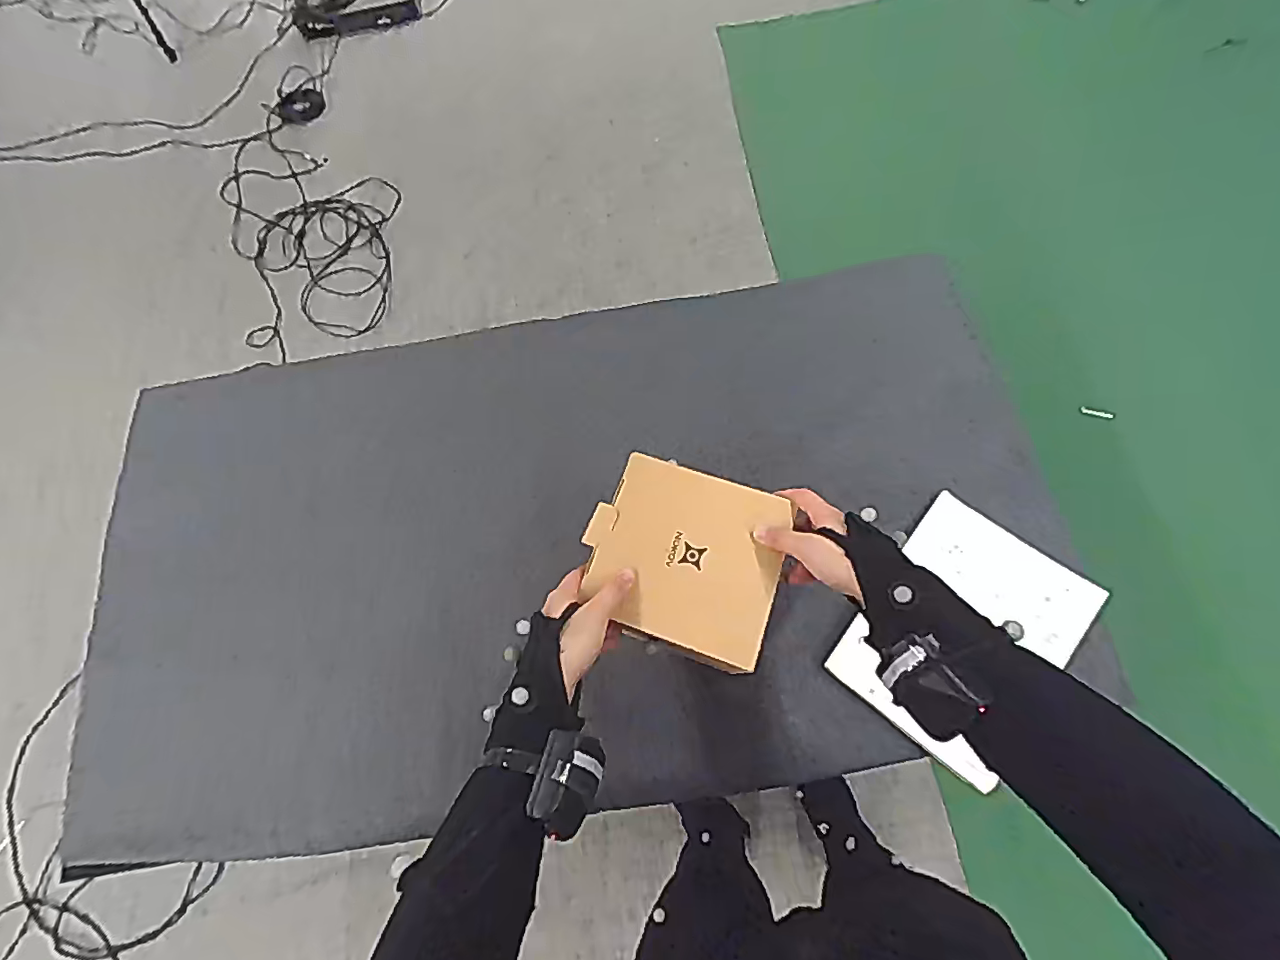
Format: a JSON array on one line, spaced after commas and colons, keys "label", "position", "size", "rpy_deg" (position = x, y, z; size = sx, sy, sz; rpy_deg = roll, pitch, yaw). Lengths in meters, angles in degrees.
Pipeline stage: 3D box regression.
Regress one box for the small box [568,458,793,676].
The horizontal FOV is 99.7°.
[{"label": "small box", "position": [0.047, 0.099, 0.584], "size": [0.179, 0.176, 0.168], "rpy_deg": [17, 73, 12]}]
